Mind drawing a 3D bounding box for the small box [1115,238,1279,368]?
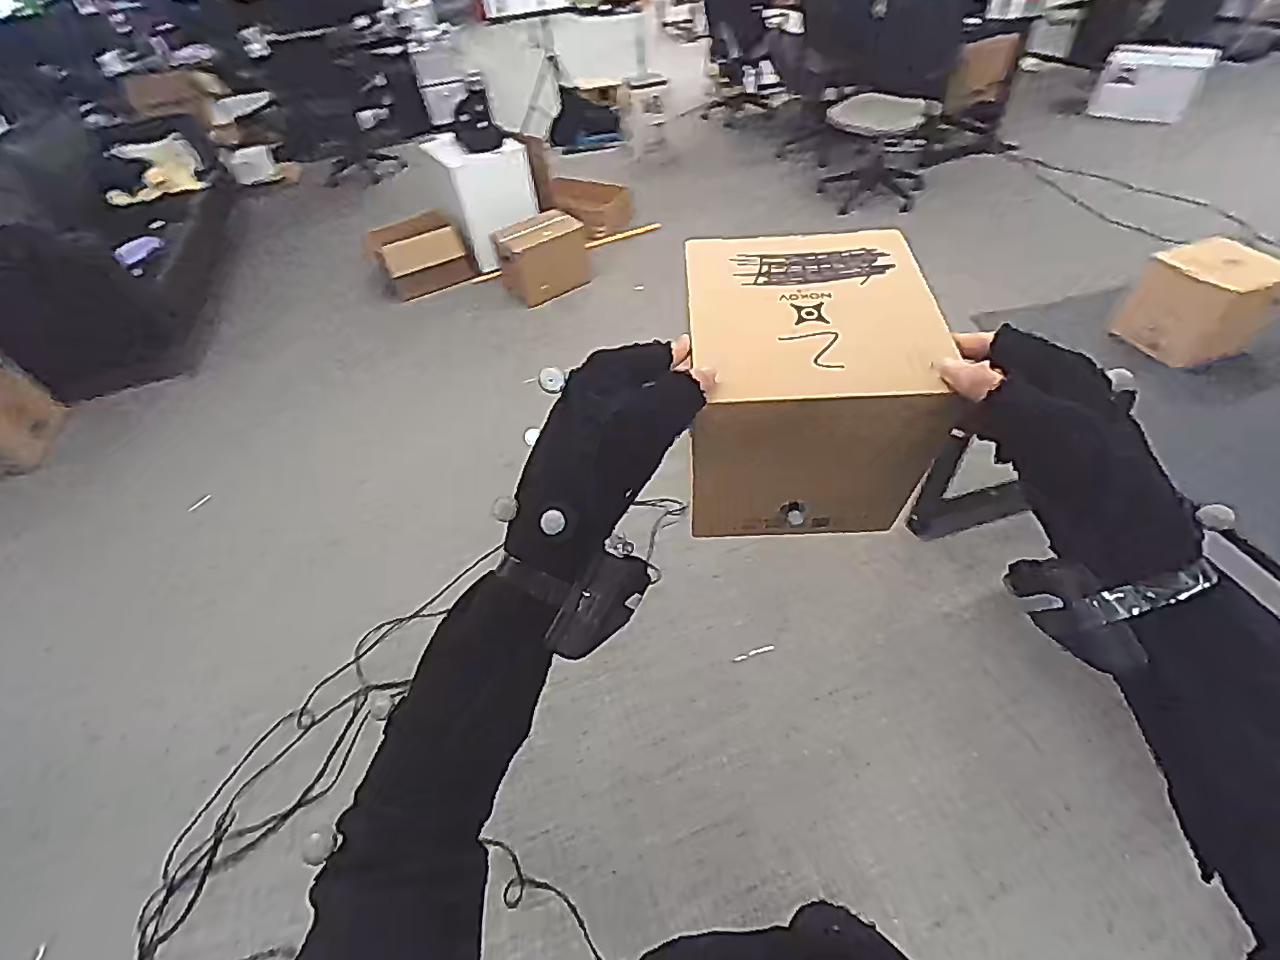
[{"bbox_3d":[1.113,-0.349,1.069,0.179,0.176,0.168,-16,48,-8],"label":"small box"}]
